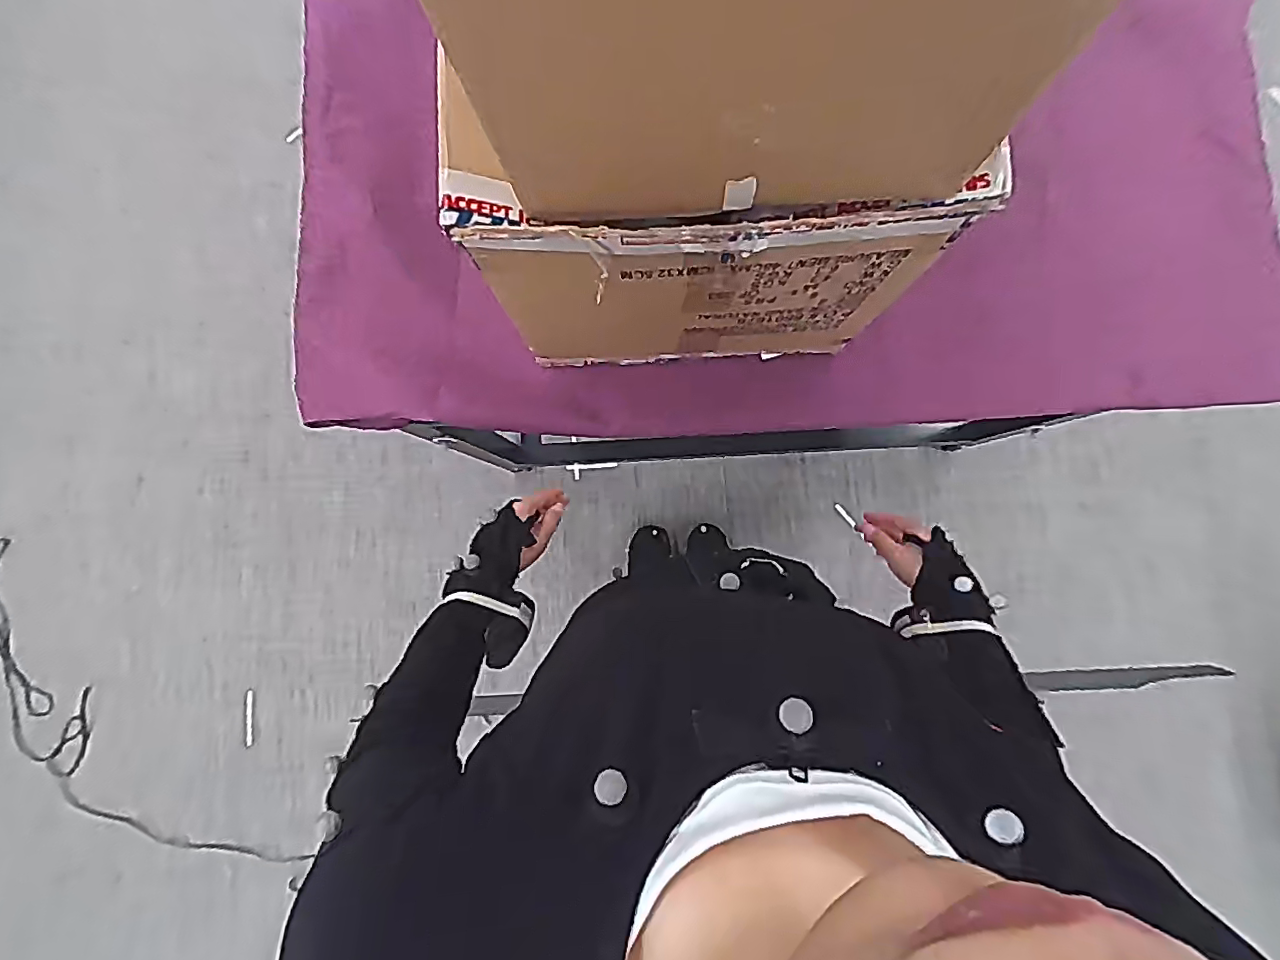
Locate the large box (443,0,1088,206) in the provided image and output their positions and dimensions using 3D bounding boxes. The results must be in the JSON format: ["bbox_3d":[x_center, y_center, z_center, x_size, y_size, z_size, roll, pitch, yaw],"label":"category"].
[{"bbox_3d":[0.052,-0.415,0.258,0.320,0.320,0.408,-2,85,5],"label":"large box"}]
